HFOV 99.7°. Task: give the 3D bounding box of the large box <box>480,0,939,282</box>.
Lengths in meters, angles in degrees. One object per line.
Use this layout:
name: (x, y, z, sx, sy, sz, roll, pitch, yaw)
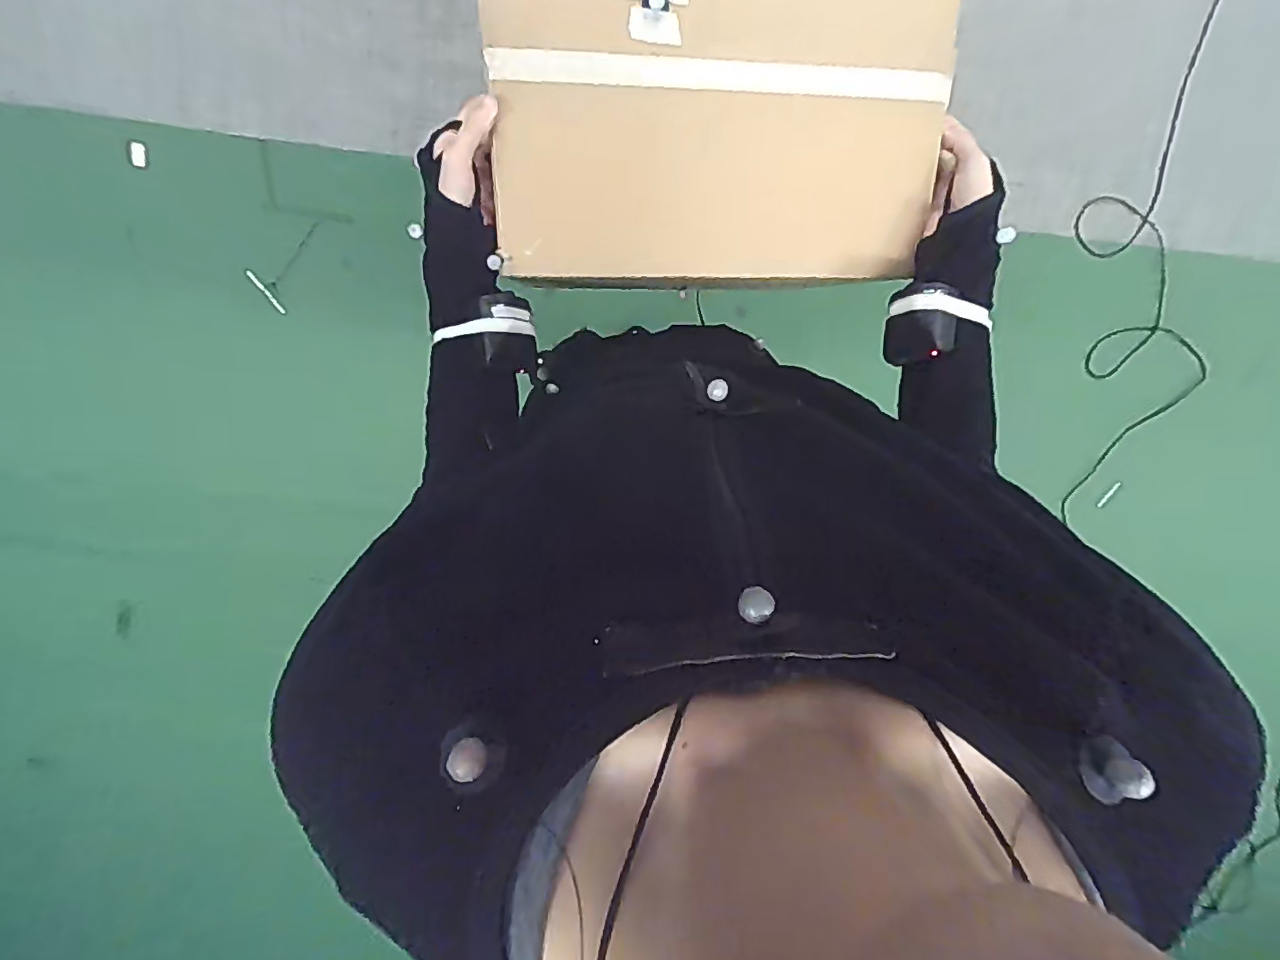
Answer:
large box: (0.049, -0.392, 0.615, 0.408, 0.320, 0.320, -3, 108, -8)
